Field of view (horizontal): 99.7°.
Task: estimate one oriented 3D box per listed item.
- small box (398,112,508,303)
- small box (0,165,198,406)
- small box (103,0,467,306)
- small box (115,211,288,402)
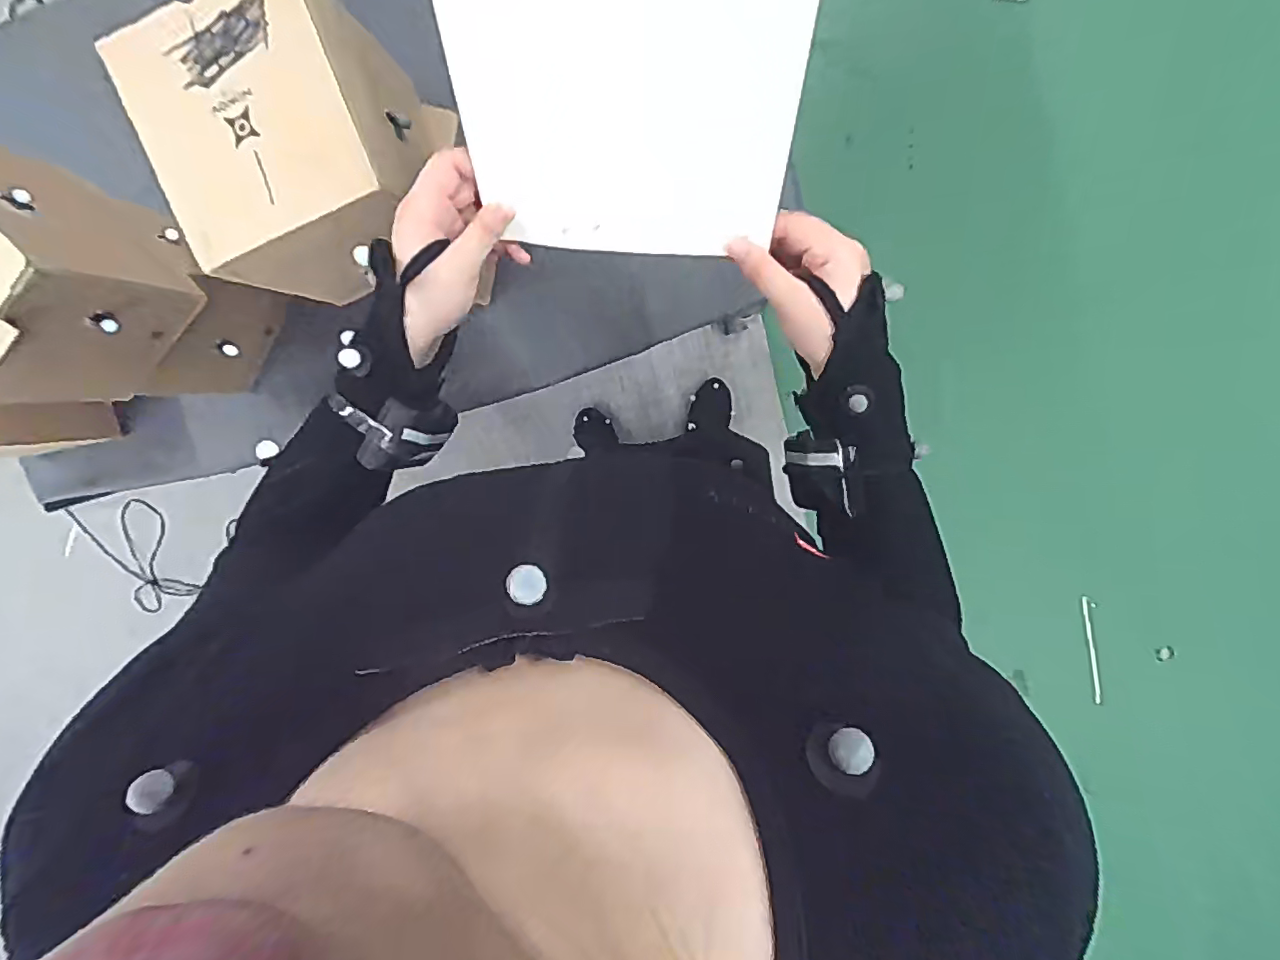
[{"bbox_3d":[-0.273,-0.315,0.634,0.179,0.176,0.168,15,101,4],"label":"small box"},{"bbox_3d":[-0.596,-0.187,0.522,0.168,0.176,0.179,-43,93,10],"label":"small box"},{"bbox_3d":[-0.284,-0.273,0.475,0.168,0.176,0.179,-19,98,10],"label":"small box"},{"bbox_3d":[-0.599,-0.217,0.683,0.179,0.176,0.168,35,100,-1],"label":"small box"}]
